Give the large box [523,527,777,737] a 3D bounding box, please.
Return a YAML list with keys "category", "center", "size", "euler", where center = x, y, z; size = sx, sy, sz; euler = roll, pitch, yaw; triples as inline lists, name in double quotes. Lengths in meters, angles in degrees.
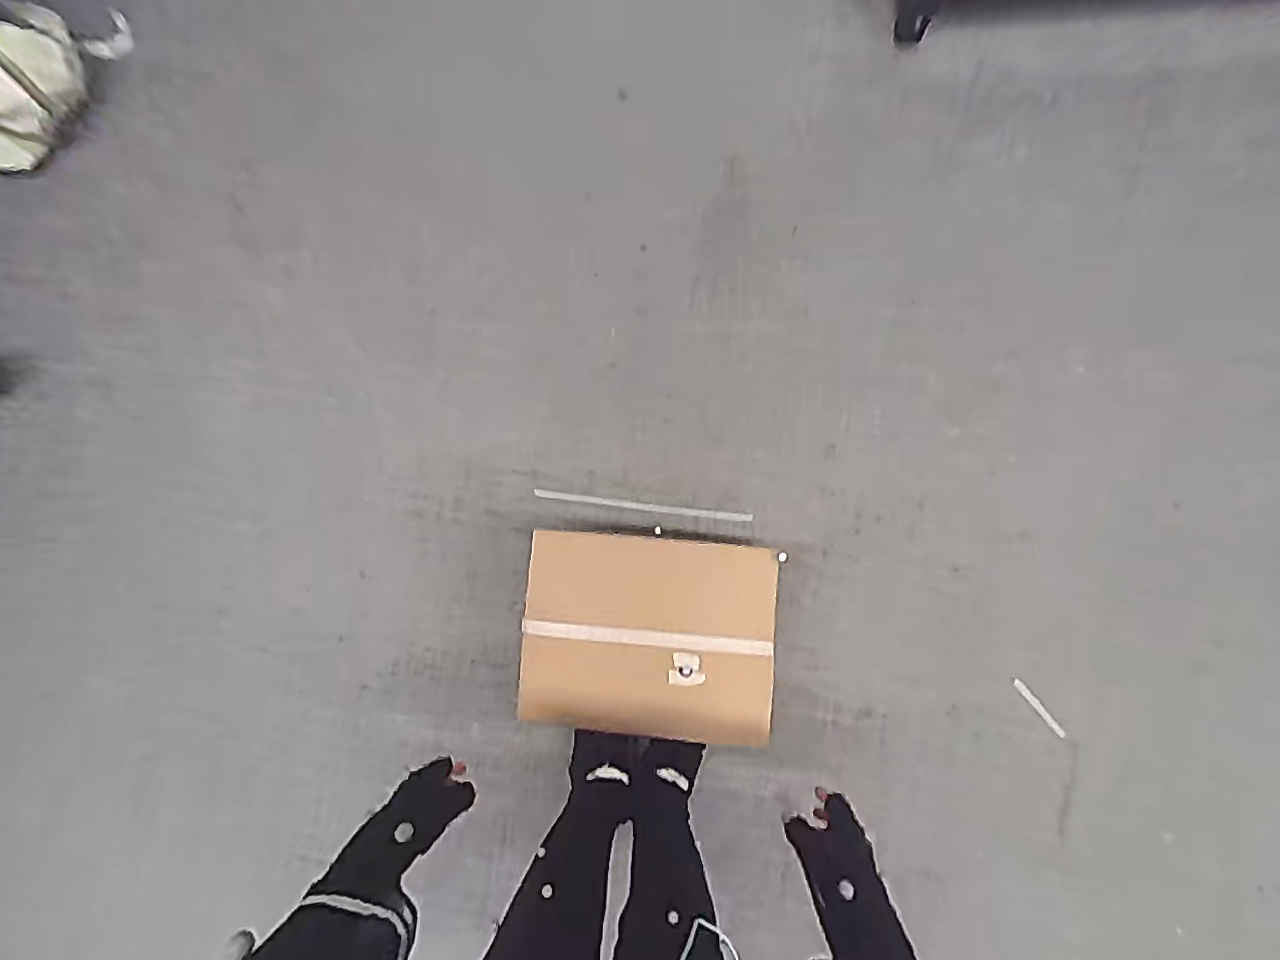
- category: "large box"
  center: [0.022, 0.256, 1.019]
  size: [0.408, 0.320, 0.320]
  euler: [4, 86, 4]
